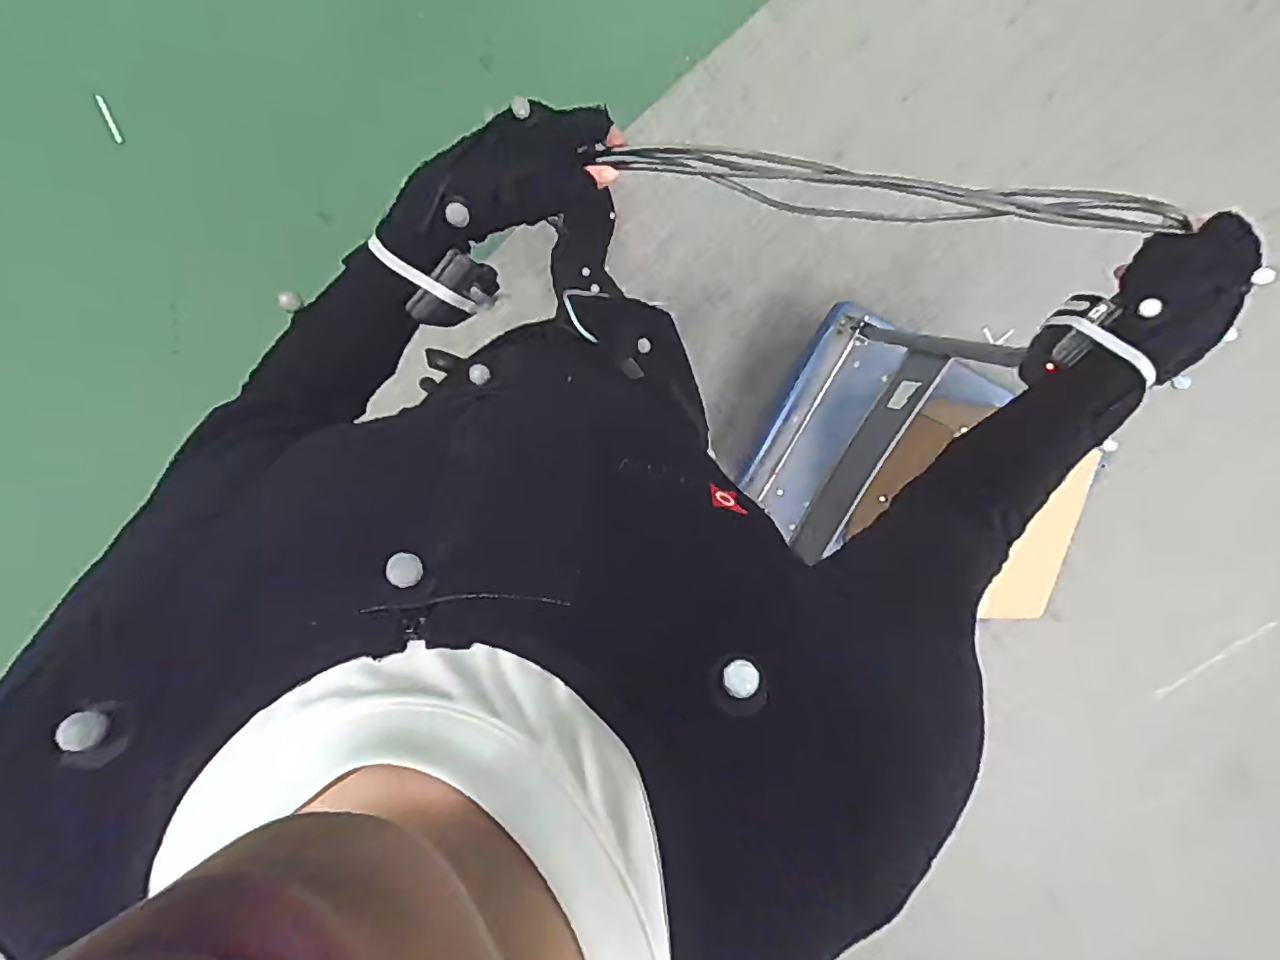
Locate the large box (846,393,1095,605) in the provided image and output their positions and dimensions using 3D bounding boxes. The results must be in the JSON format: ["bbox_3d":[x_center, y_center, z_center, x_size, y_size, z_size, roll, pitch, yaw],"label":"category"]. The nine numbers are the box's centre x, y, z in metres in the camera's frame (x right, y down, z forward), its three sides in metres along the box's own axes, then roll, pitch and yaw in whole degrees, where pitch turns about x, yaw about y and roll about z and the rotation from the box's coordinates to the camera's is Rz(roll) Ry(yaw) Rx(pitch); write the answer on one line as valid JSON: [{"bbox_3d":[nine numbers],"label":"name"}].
[{"bbox_3d":[0.712,0.033,1.242,0.320,0.320,0.408,3,109,-6],"label":"large box"}]
